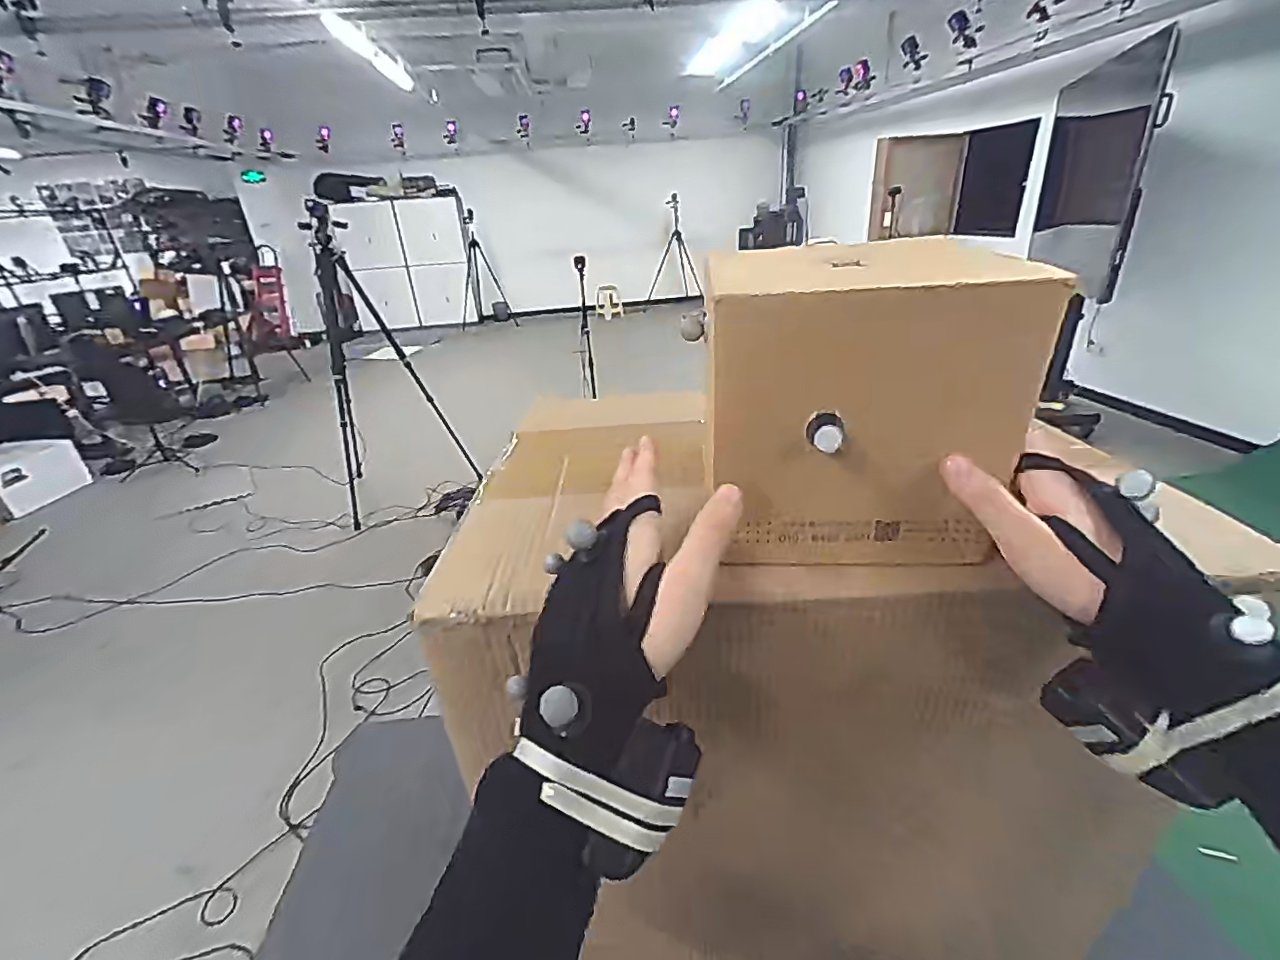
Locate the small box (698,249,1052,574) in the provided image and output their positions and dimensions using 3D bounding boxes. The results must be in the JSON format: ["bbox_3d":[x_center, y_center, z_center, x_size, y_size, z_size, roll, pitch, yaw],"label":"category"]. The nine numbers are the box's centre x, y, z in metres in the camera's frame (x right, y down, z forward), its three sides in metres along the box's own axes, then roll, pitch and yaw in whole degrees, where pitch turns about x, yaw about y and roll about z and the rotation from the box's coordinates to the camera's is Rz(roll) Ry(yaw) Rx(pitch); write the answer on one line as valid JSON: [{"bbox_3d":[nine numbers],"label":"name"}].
[{"bbox_3d":[0.124,-0.051,0.366,0.168,0.176,0.179,-1,29,6],"label":"small box"}]
